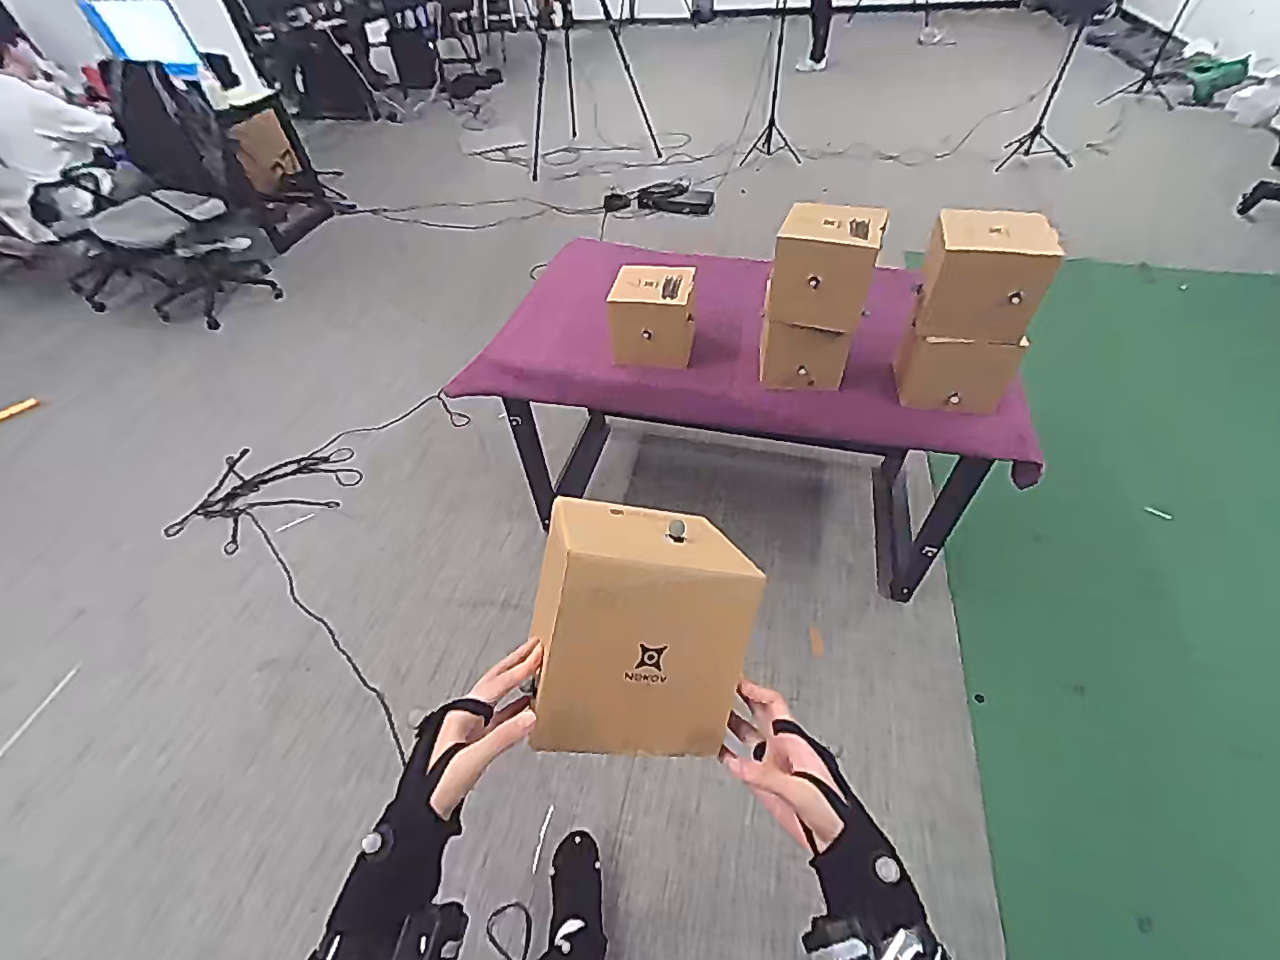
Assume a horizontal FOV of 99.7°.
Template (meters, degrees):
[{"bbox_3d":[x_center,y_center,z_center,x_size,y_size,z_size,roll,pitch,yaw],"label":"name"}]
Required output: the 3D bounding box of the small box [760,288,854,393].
[{"bbox_3d":[0.351,-0.310,1.171,0.168,0.176,0.179,4,48,8],"label":"small box"}]

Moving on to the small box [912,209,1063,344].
[{"bbox_3d":[0.613,-0.366,0.978,0.179,0.176,0.168,10,50,14],"label":"small box"}]

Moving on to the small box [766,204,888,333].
[{"bbox_3d":[0.352,-0.401,1.031,0.179,0.176,0.168,15,50,19],"label":"small box"}]

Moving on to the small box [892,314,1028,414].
[{"bbox_3d":[0.633,-0.249,1.092,0.179,0.176,0.168,6,49,10],"label":"small box"}]
